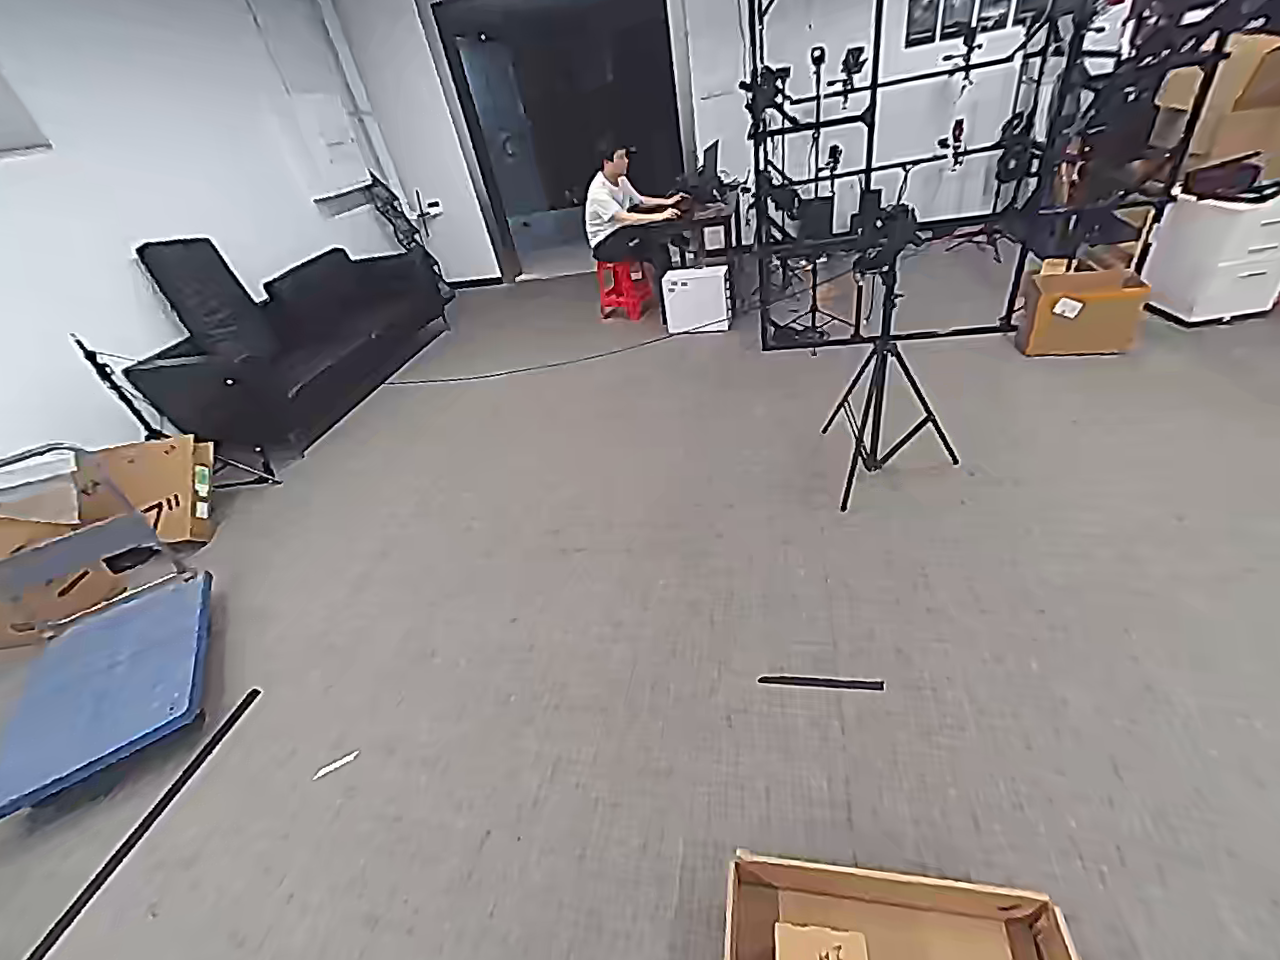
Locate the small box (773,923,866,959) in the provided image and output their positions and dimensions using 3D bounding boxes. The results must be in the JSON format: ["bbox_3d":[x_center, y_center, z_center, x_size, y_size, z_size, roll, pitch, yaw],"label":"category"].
[{"bbox_3d":[0.336,0.967,1.005,0.168,0.176,0.179,-2,37,12],"label":"small box"}]
